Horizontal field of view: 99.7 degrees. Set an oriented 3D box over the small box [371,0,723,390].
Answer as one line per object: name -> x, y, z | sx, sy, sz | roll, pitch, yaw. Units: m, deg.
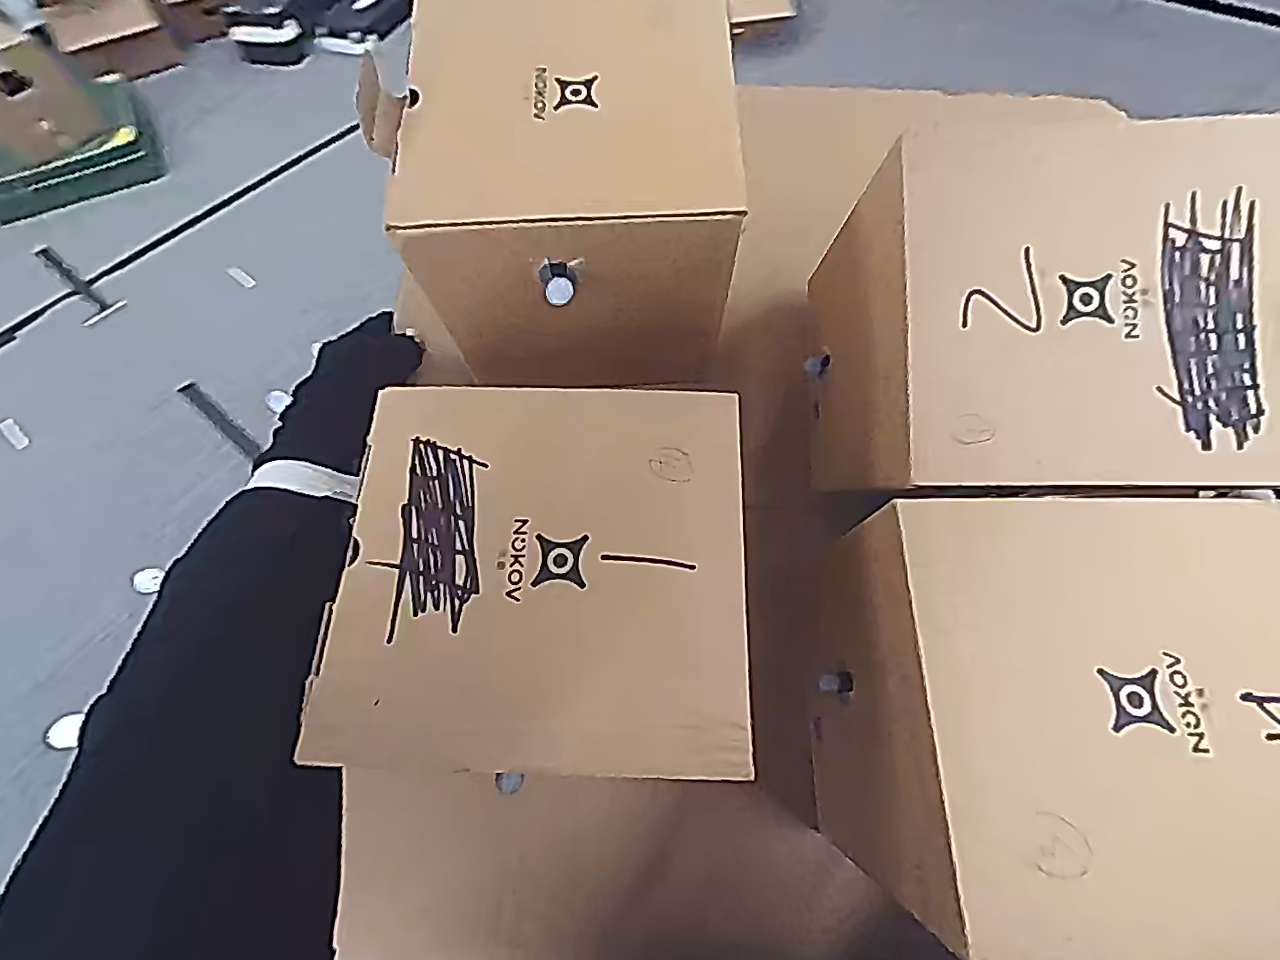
small box -> -0.047, -0.172, 0.363 | 0.179, 0.176, 0.168 | -3, 72, 1
